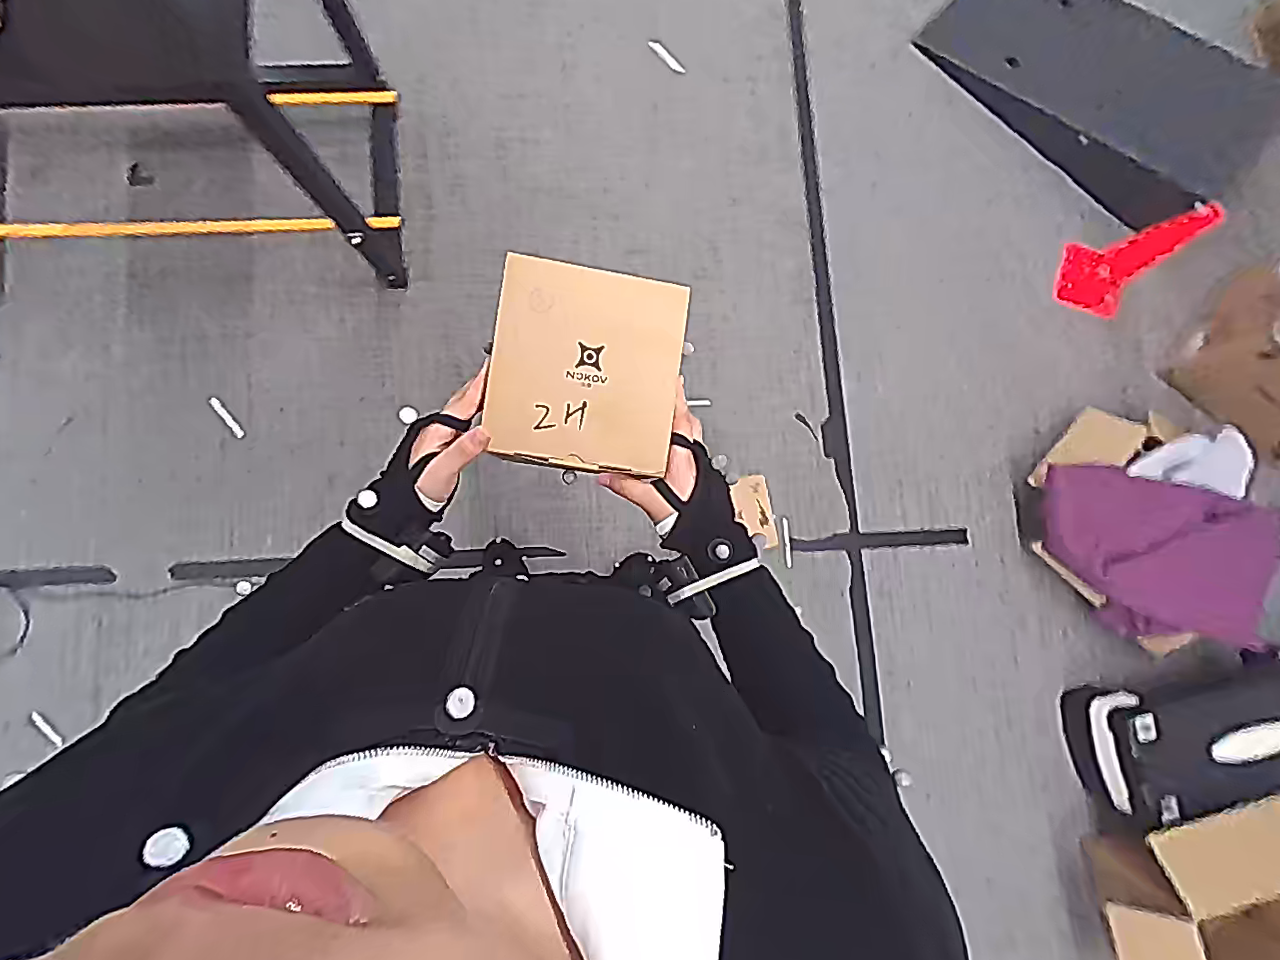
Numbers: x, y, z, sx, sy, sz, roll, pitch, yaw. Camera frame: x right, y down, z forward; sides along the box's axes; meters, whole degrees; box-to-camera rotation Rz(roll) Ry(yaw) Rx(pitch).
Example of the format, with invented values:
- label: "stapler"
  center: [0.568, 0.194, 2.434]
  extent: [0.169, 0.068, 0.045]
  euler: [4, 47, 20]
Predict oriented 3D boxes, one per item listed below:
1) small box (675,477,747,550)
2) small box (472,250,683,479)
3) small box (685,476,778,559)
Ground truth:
- label: "small box"
  center: [0.199, 0.091, 1.449]
  extent: [0.179, 0.176, 0.168]
  euler: [-9, 84, -2]
- label: "small box"
  center: [-0.063, -0.099, 0.549]
  extent: [0.168, 0.176, 0.179]
  euler: [8, 87, -7]
- label: "small box"
  center: [0.207, 0.092, 1.285]
  extent: [0.179, 0.176, 0.168]
  euler: [-10, 84, -3]
